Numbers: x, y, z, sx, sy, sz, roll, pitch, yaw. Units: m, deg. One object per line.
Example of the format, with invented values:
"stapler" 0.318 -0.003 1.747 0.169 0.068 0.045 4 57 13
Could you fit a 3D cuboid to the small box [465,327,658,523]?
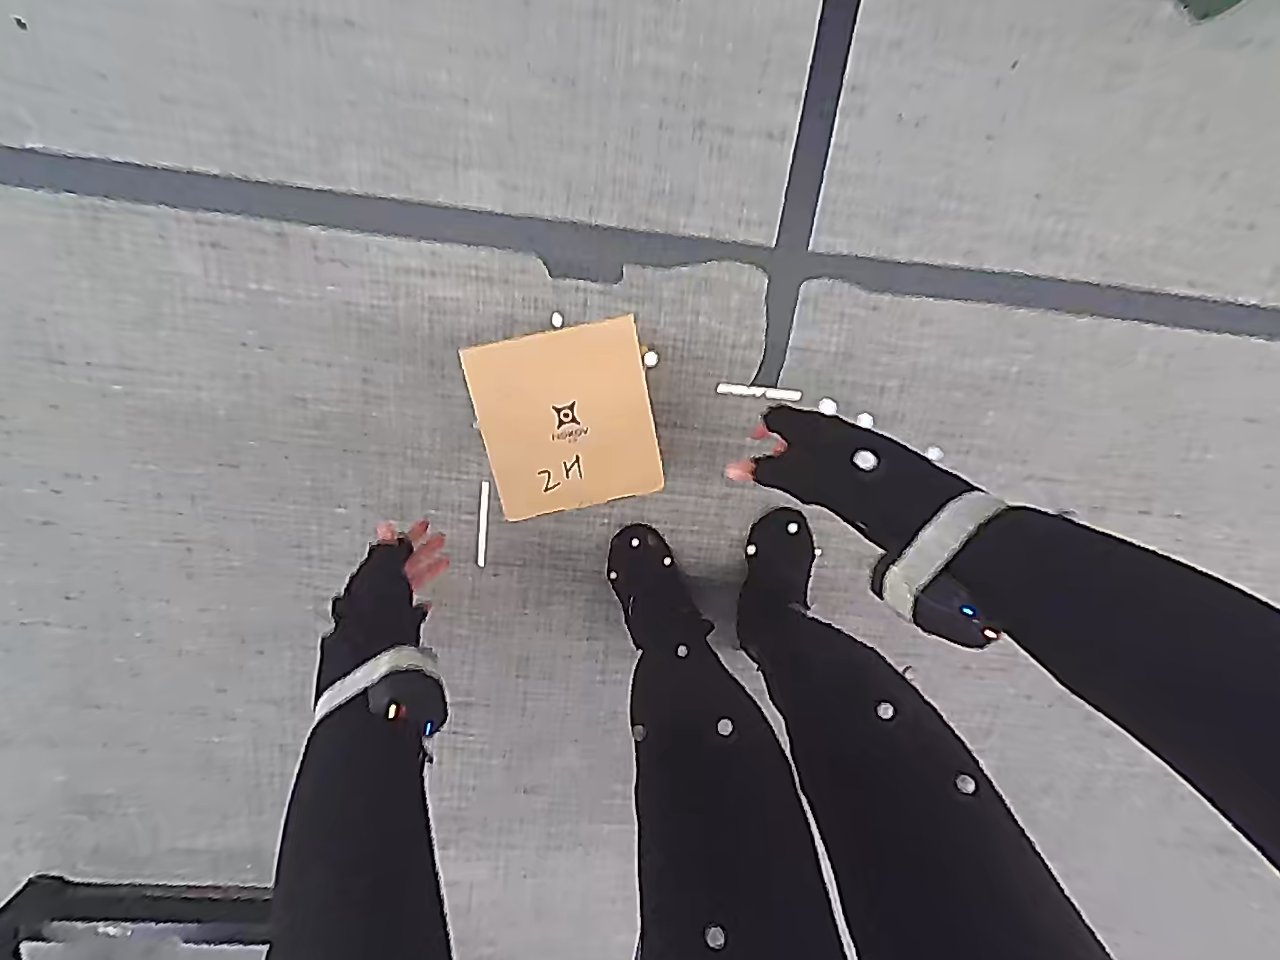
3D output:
"small box" -0.076 -0.072 0.600 0.168 0.176 0.179 -8 109 0
